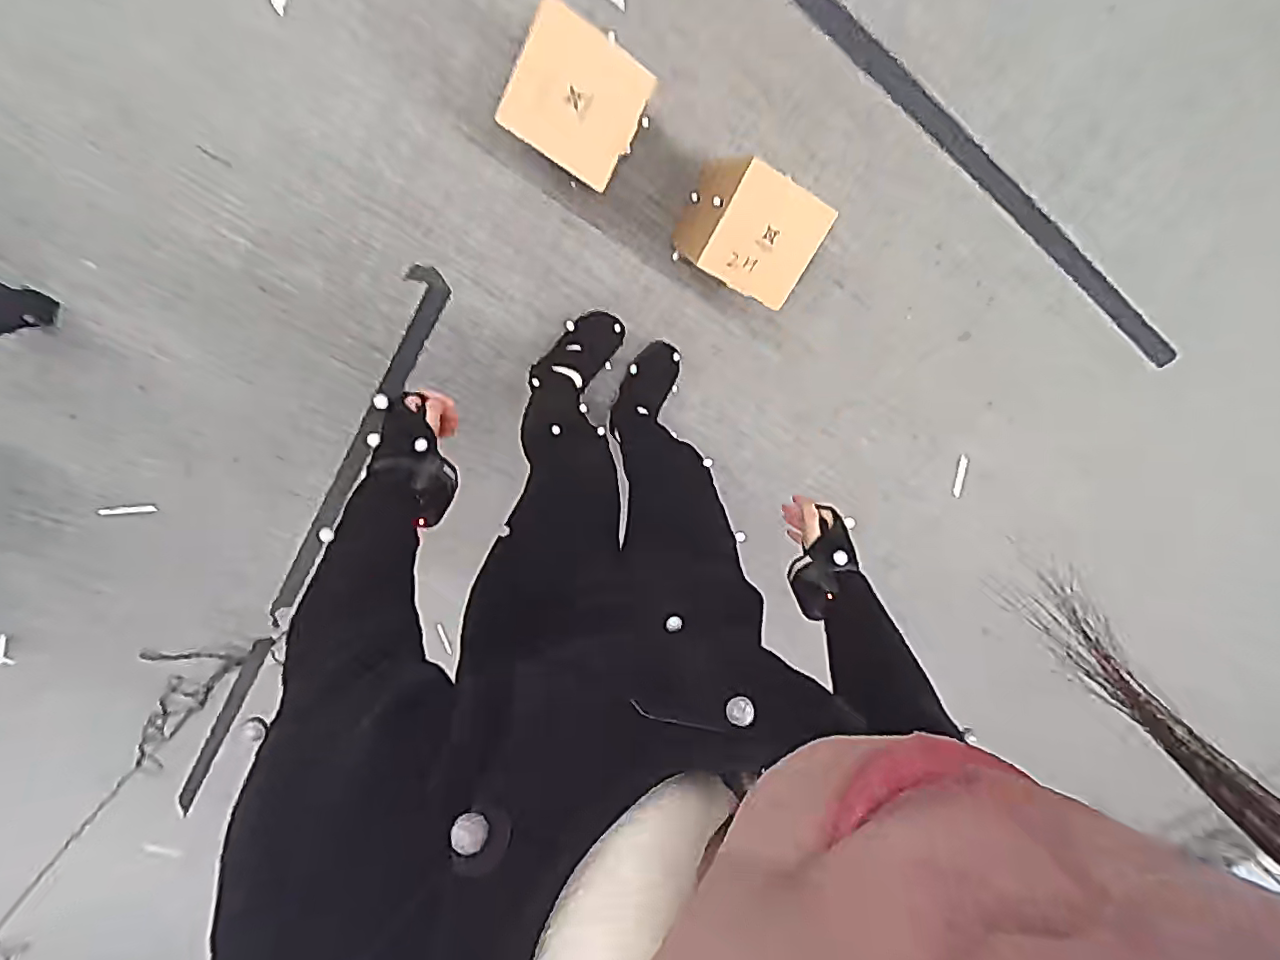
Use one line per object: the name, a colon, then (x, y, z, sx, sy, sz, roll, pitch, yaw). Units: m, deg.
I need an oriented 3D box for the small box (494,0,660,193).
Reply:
small box: (-0.092, -0.561, 0.807, 0.179, 0.176, 0.168, 27, 114, -19)

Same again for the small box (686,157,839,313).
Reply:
small box: (0.194, -0.417, 0.918, 0.168, 0.176, 0.179, 23, 116, -17)

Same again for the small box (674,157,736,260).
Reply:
small box: (0.179, -0.501, 1.059, 0.168, 0.176, 0.179, 22, 115, -17)
